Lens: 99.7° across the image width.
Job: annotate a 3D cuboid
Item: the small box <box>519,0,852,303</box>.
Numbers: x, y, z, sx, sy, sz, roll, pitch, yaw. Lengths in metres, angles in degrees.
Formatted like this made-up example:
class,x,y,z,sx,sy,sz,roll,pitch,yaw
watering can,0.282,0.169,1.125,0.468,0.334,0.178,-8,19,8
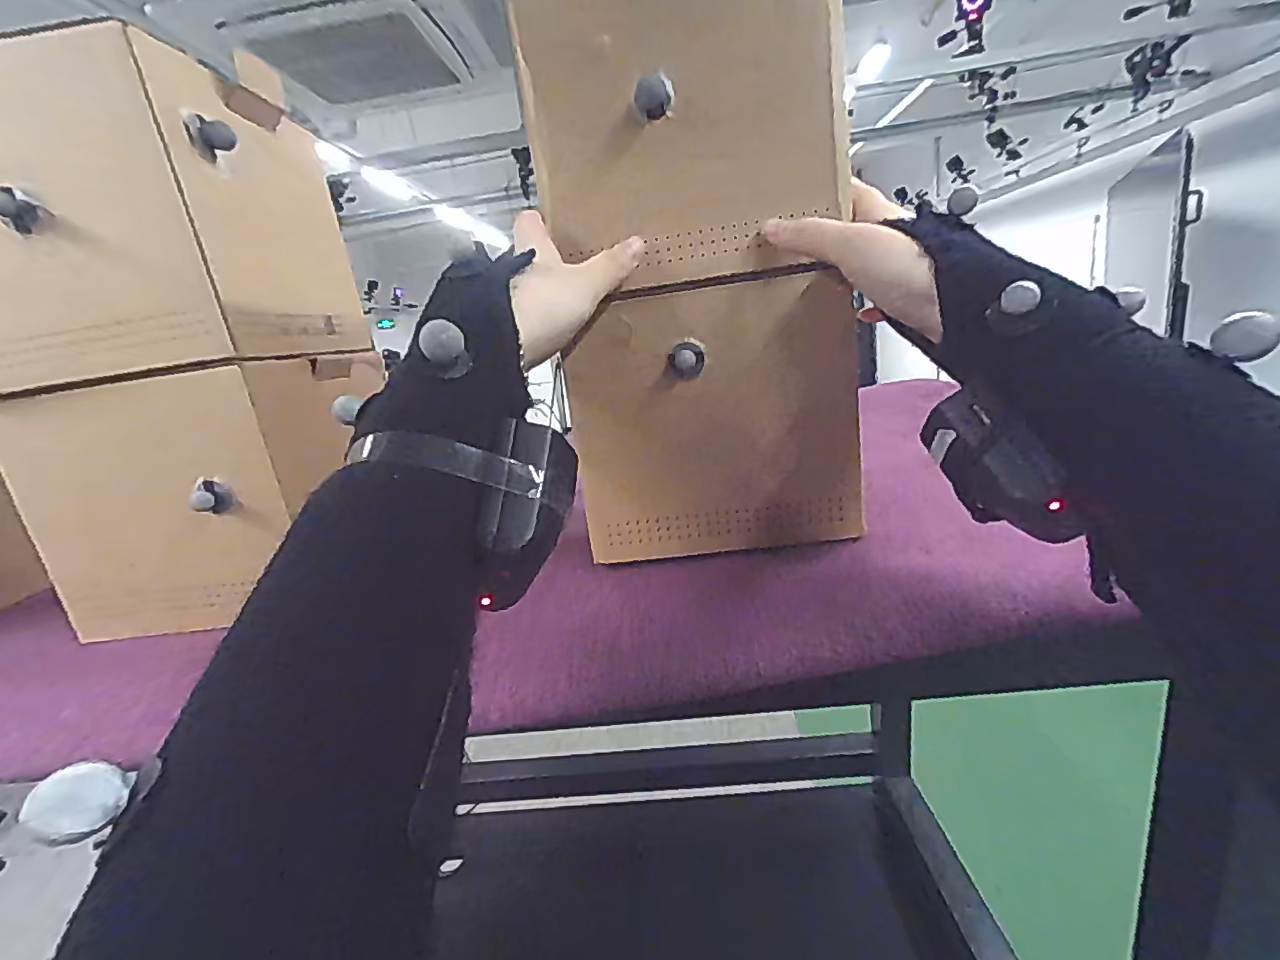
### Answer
class,x,y,z,sx,sy,sz,roll,pitch,yaw
small box,0.036,-0.211,0.384,0.179,0.176,0.168,-7,12,7

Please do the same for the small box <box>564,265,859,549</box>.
class,x,y,z,sx,sy,sz,roll,pitch,yaw
small box,0.055,-0.052,0.417,0.179,0.176,0.168,-6,12,6

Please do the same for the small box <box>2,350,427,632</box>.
class,x,y,z,sx,sy,sz,roll,pitch,yaw
small box,-0.292,-0.002,0.421,0.179,0.176,0.168,-8,14,3
